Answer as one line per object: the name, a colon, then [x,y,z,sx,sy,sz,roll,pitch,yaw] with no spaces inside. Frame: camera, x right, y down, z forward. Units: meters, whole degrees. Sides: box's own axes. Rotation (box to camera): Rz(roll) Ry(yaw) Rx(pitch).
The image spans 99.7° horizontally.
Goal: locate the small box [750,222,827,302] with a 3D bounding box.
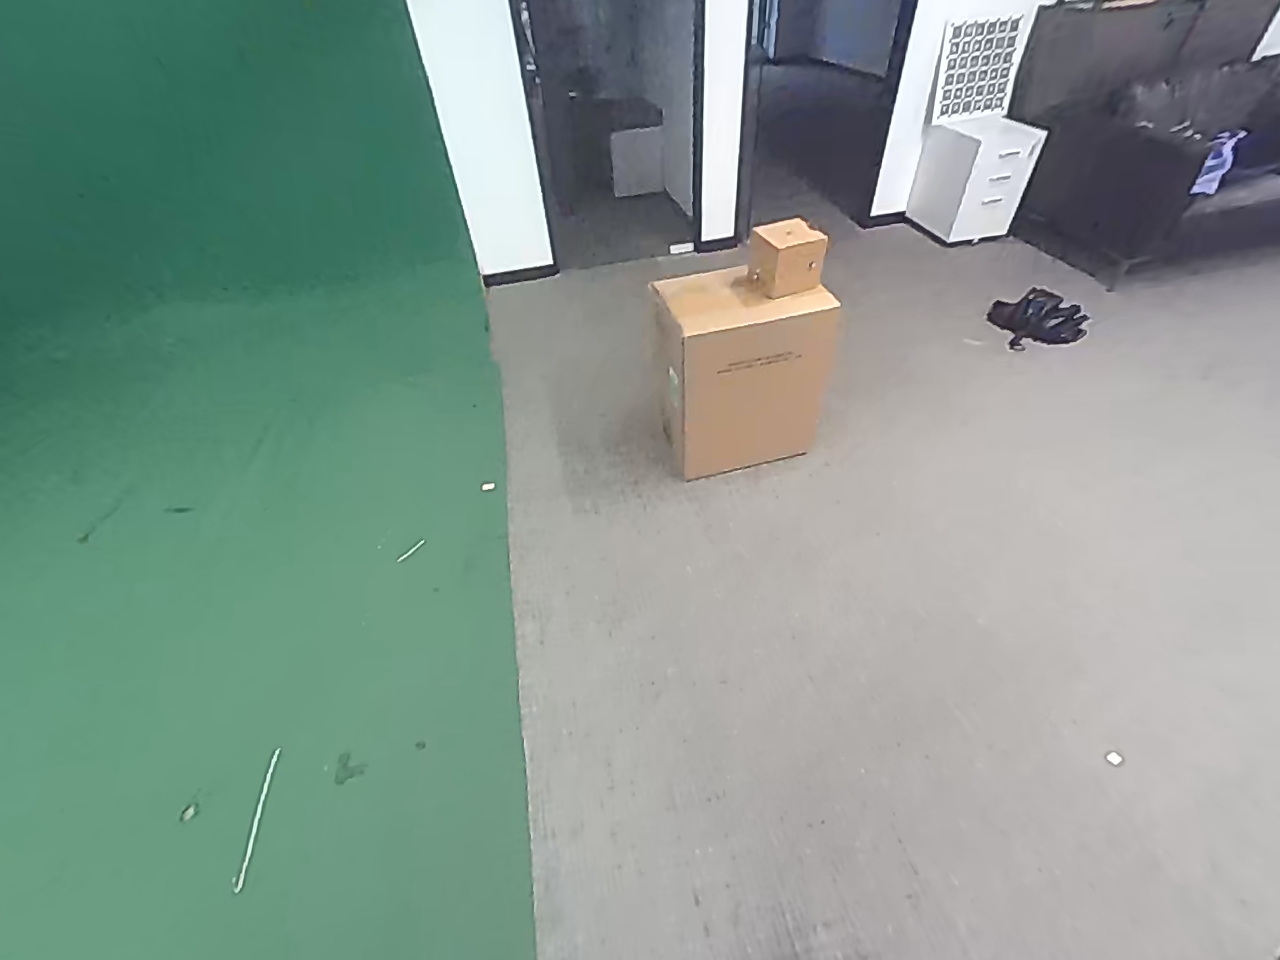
small box: [0.475,-0.708,1.761,0.179,0.176,0.168,-20,49,-12]
